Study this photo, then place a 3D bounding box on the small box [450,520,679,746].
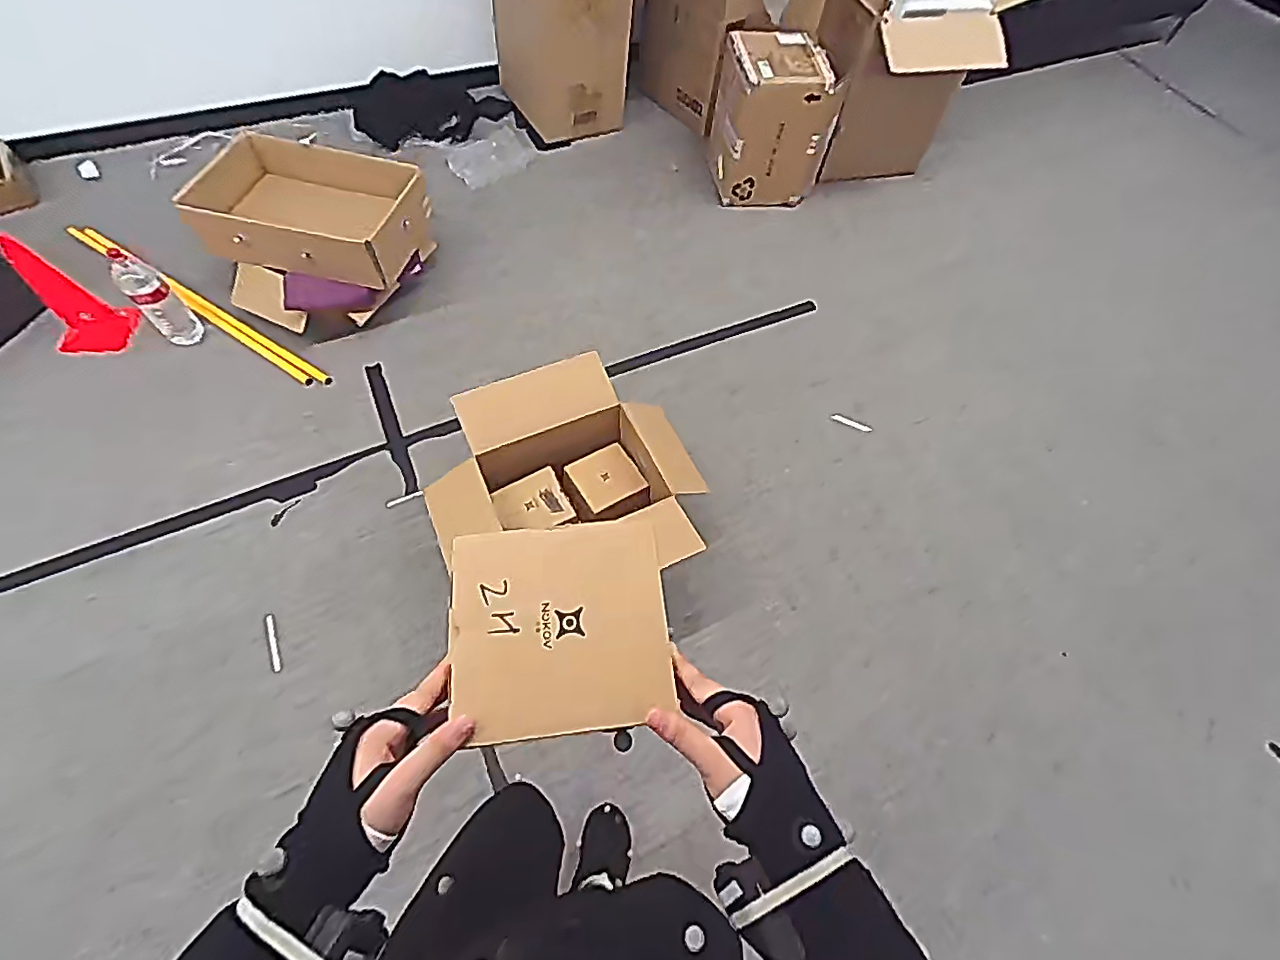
[{"bbox_3d":[-0.068,0.148,0.512,0.179,0.176,0.168,-6,66,-5],"label":"small box"}]
